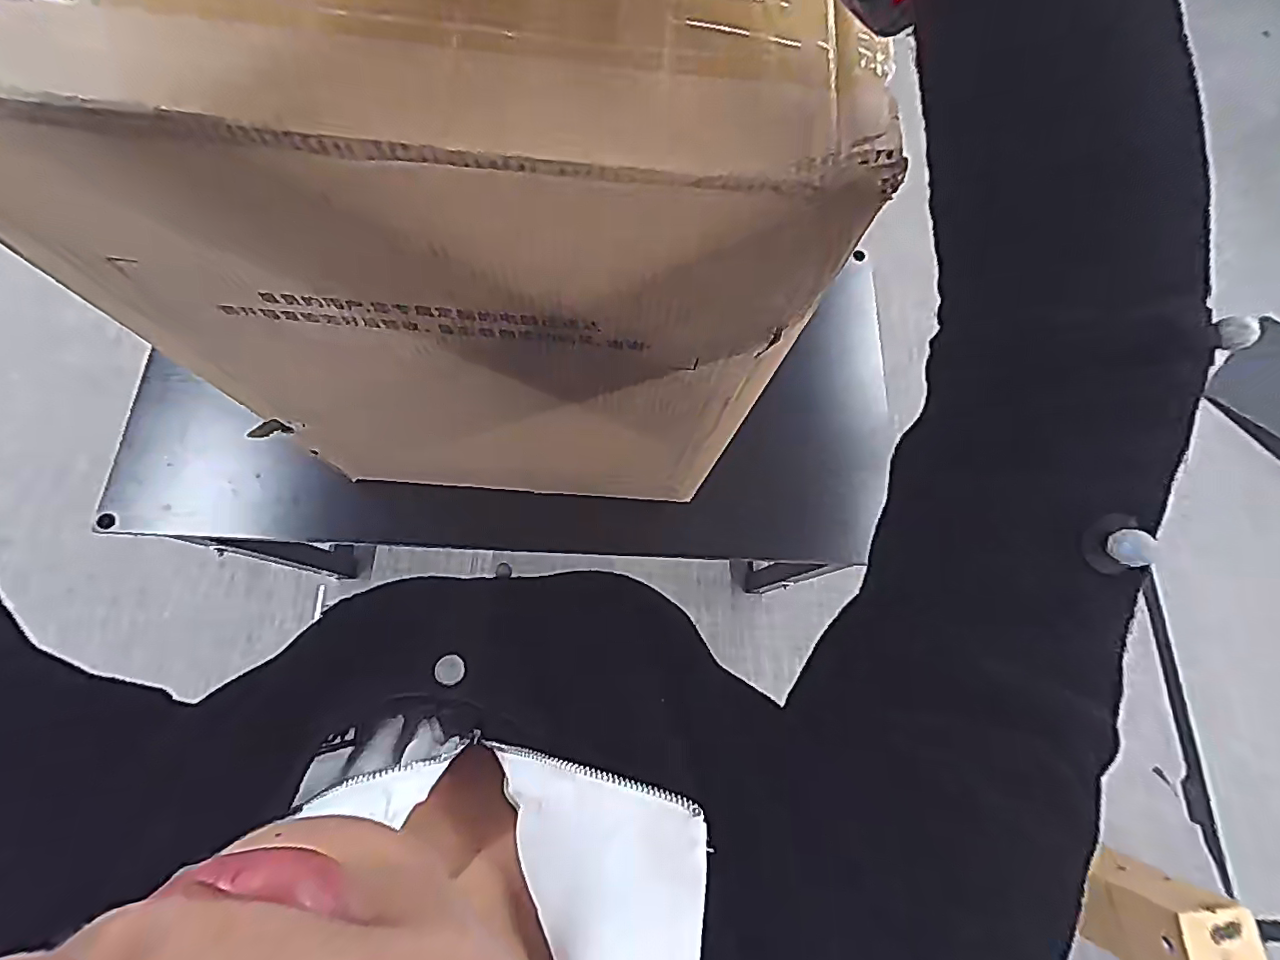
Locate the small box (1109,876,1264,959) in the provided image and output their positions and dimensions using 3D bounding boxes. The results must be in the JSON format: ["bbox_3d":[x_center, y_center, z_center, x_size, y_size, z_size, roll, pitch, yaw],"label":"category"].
[{"bbox_3d":[1.173,0.985,1.167,0.168,0.176,0.179,-1,74,-5],"label":"small box"}]

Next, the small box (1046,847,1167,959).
[{"bbox_3d":[1.158,1.027,1.326,0.179,0.176,0.168,-4,73,-5],"label":"small box"}]
